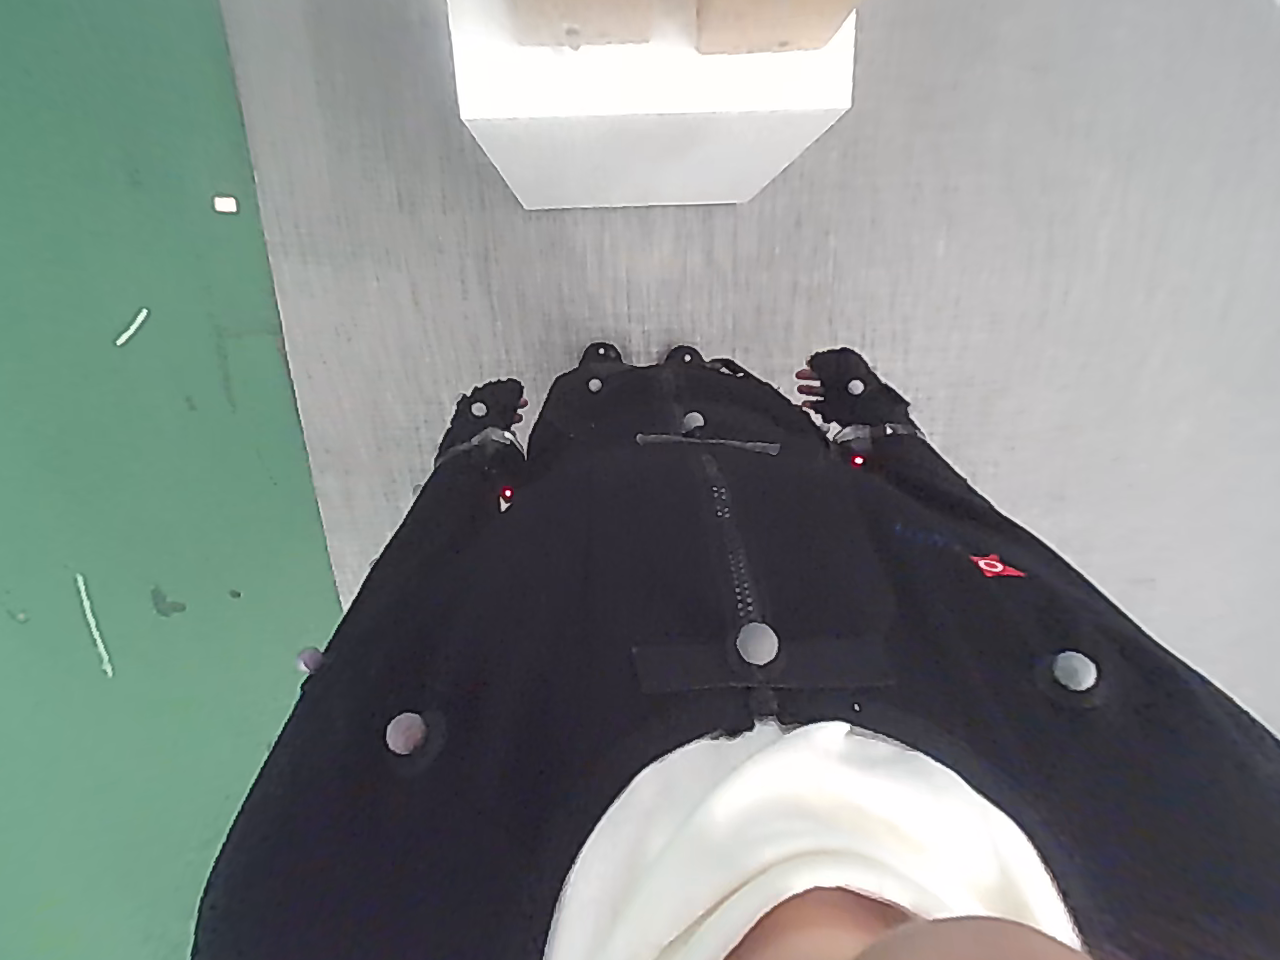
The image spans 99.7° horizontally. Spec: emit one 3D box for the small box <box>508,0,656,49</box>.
[{"bbox_3d":[-0.069,-0.599,0.568,0.168,0.176,0.179,-5,106,-1],"label":"small box"}]

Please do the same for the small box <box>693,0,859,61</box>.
[{"bbox_3d":[0.150,-0.603,0.592,0.168,0.176,0.179,-3,104,-2],"label":"small box"}]
